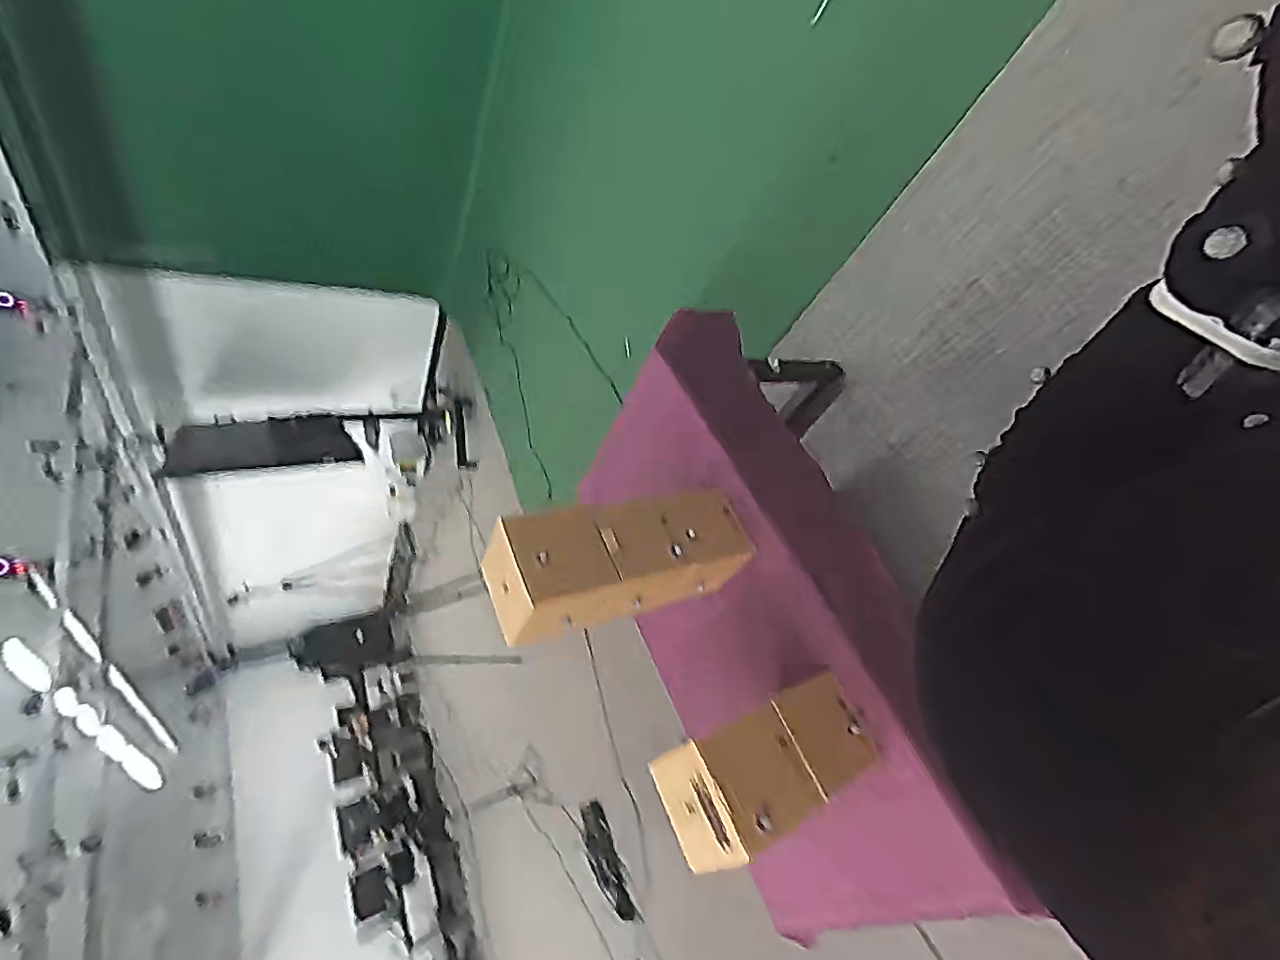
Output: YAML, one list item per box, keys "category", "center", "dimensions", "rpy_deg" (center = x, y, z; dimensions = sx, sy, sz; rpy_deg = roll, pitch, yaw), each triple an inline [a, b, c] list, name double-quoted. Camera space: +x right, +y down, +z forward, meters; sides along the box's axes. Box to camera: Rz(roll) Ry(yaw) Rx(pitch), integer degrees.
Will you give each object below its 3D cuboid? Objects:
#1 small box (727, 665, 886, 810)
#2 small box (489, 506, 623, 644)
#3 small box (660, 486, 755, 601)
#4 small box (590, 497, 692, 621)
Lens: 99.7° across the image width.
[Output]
- category: "small box"
  center: [0.296, 0.459, 0.971]
  dimensions: [0.168, 0.176, 0.179]
  rpy_deg: [62, 140, 26]
- category: "small box"
  center: [-0.153, 0.166, 0.979]
  dimensions: [0.179, 0.176, 0.168]
  rpy_deg: [62, 140, 27]
- category: "small box"
  center: [0.116, 0.133, 1.166]
  dimensions: [0.168, 0.176, 0.179]
  rpy_deg: [60, 141, 27]
- category: "small box"
  center: [-0.020, 0.151, 1.075]
  dimensions: [0.168, 0.176, 0.179]
  rpy_deg: [61, 141, 28]
